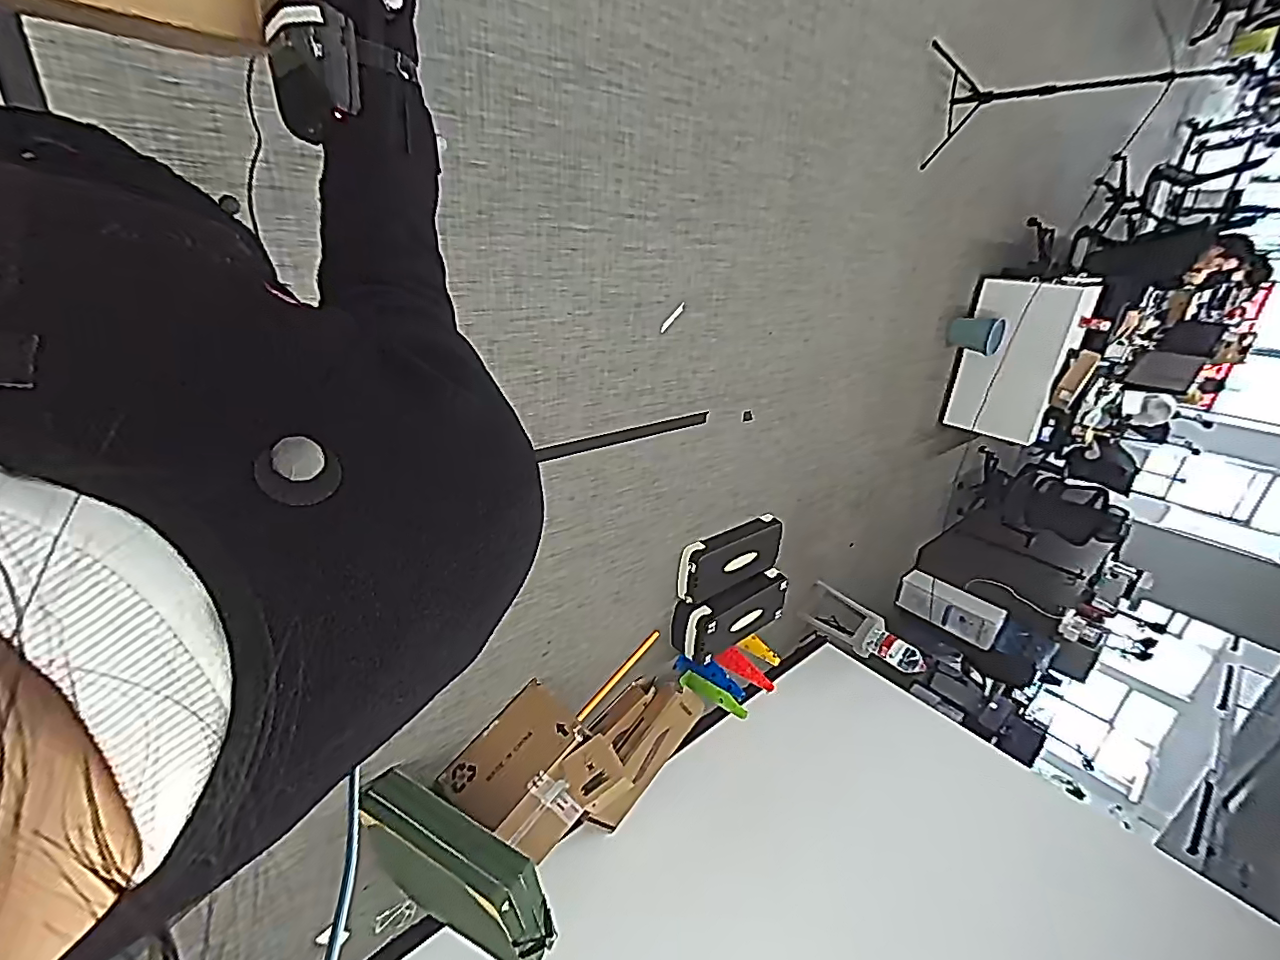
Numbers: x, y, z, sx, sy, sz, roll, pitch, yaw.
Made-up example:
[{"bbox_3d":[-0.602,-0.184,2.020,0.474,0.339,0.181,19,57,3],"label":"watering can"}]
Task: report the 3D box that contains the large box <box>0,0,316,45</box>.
[{"bbox_3d":[-0.447,-0.452,0.261,0.408,0.320,0.320,-19,131,-40],"label":"large box"}]
